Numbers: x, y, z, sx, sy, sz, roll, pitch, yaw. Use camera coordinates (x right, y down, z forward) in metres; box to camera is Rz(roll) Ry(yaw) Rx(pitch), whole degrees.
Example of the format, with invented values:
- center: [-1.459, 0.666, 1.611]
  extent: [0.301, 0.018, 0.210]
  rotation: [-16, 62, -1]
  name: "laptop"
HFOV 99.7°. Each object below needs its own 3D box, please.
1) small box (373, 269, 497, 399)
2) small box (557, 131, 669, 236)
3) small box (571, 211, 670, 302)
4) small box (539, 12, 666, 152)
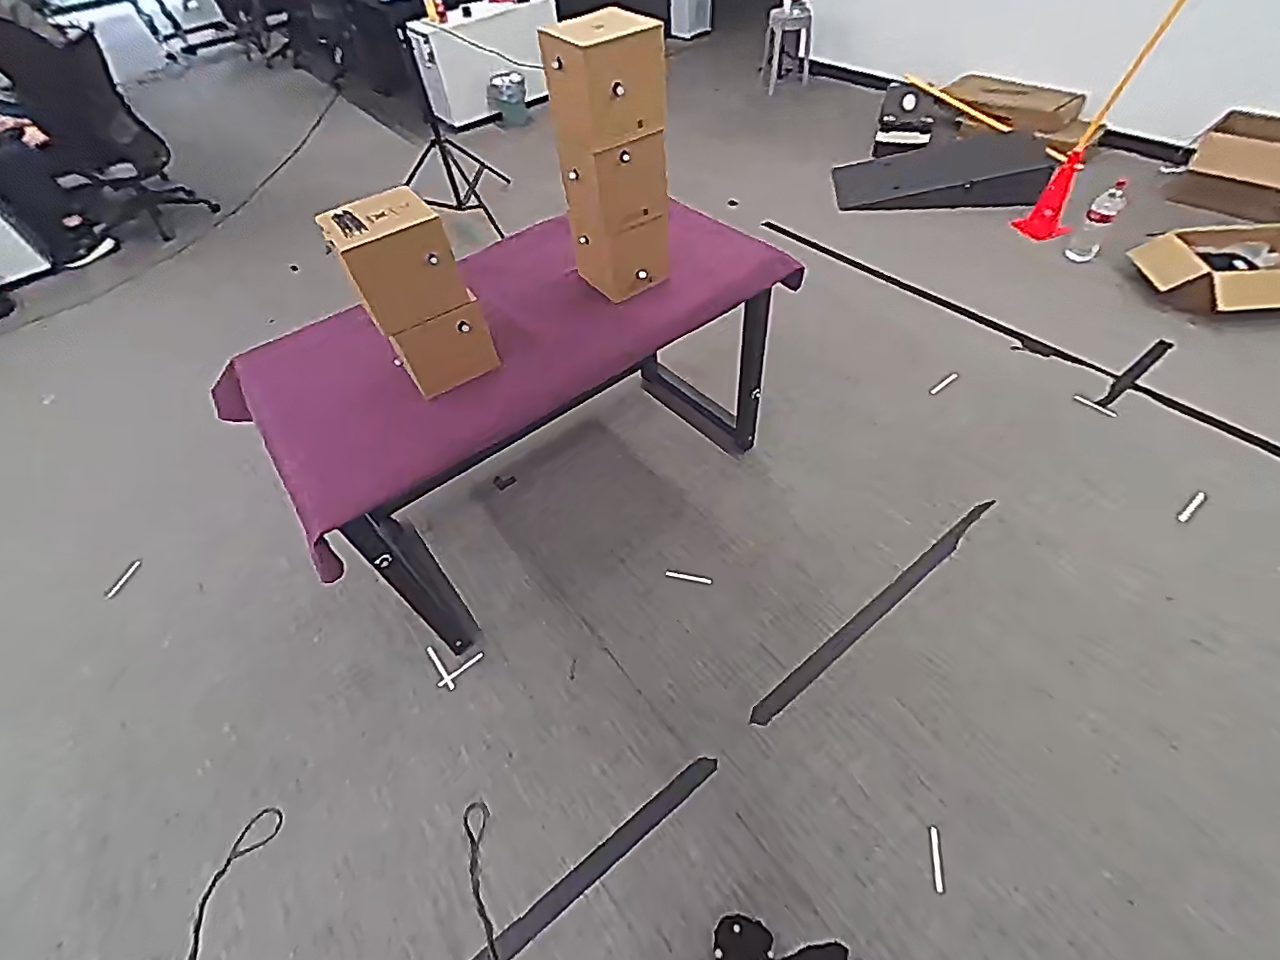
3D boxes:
- center: [-0.417, -0.303, 1.131]
  extent: [0.179, 0.176, 0.168]
  rotation: [-31, 54, -17]
  name: "small box"
- center: [-0.054, -0.652, 1.157]
  extent: [0.168, 0.176, 0.179]
  rotation: [-30, 54, -16]
  name: "small box"
- center: [-0.043, -0.554, 1.288]
  extent: [0.168, 0.176, 0.179]
  rotation: [-32, 56, -17]
  name: "small box"
- center: [-0.063, -0.749, 1.026]
  extent: [0.168, 0.176, 0.179]
  rotation: [-30, 54, -16]
  name: "small box"
